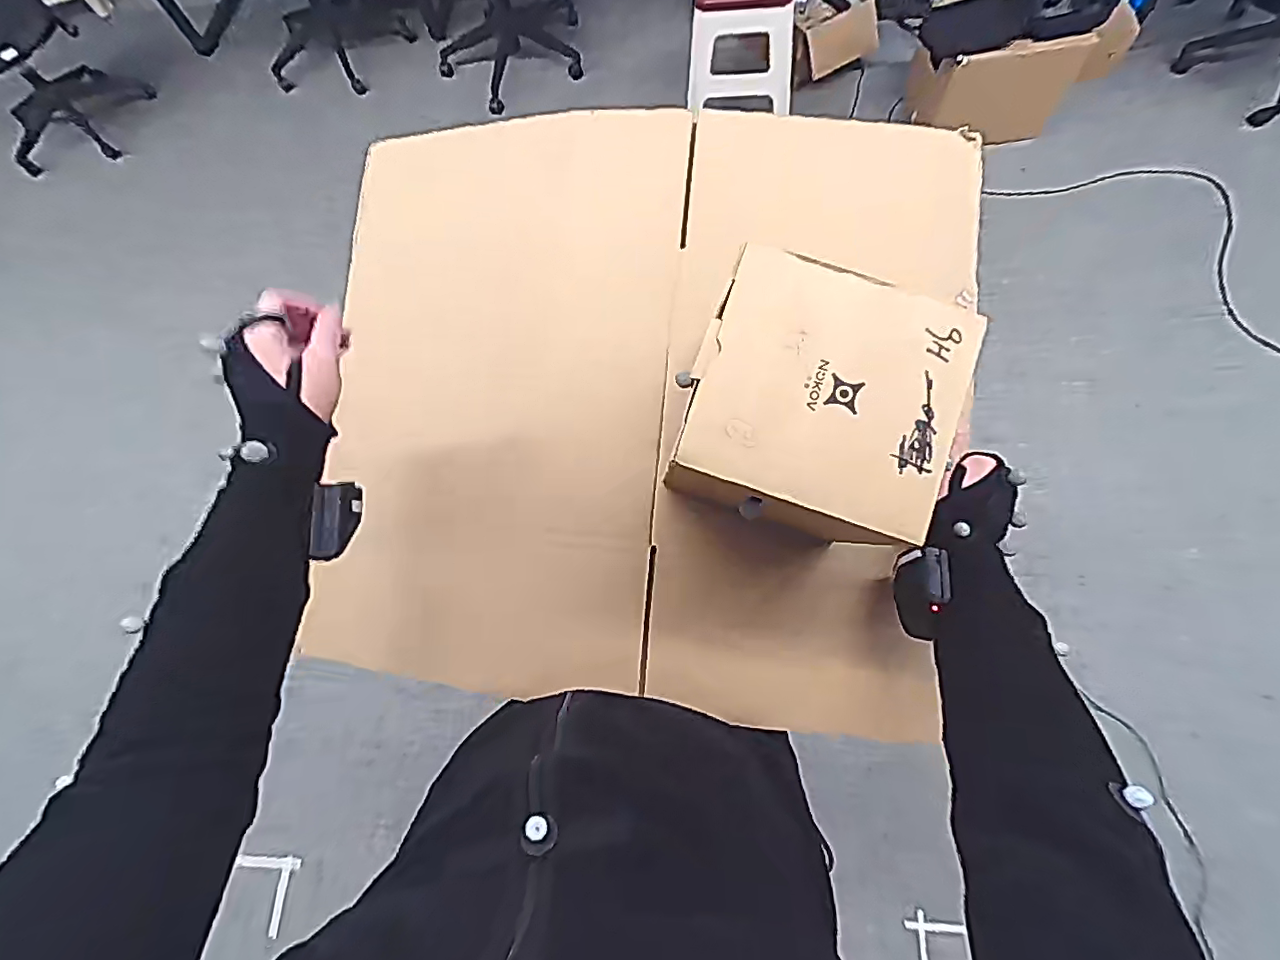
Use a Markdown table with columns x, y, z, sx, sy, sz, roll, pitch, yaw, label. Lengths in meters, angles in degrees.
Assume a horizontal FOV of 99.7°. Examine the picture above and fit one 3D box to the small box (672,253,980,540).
| x | y | z | sx | sy | sz | roll | pitch | yaw | label |
| --- | --- | --- | --- | --- | --- | --- | --- | --- | --- |
| 0.132 | -0.052 | 0.453 | 0.179 | 0.176 | 0.168 | 19 | 85 | 3 | small box |
